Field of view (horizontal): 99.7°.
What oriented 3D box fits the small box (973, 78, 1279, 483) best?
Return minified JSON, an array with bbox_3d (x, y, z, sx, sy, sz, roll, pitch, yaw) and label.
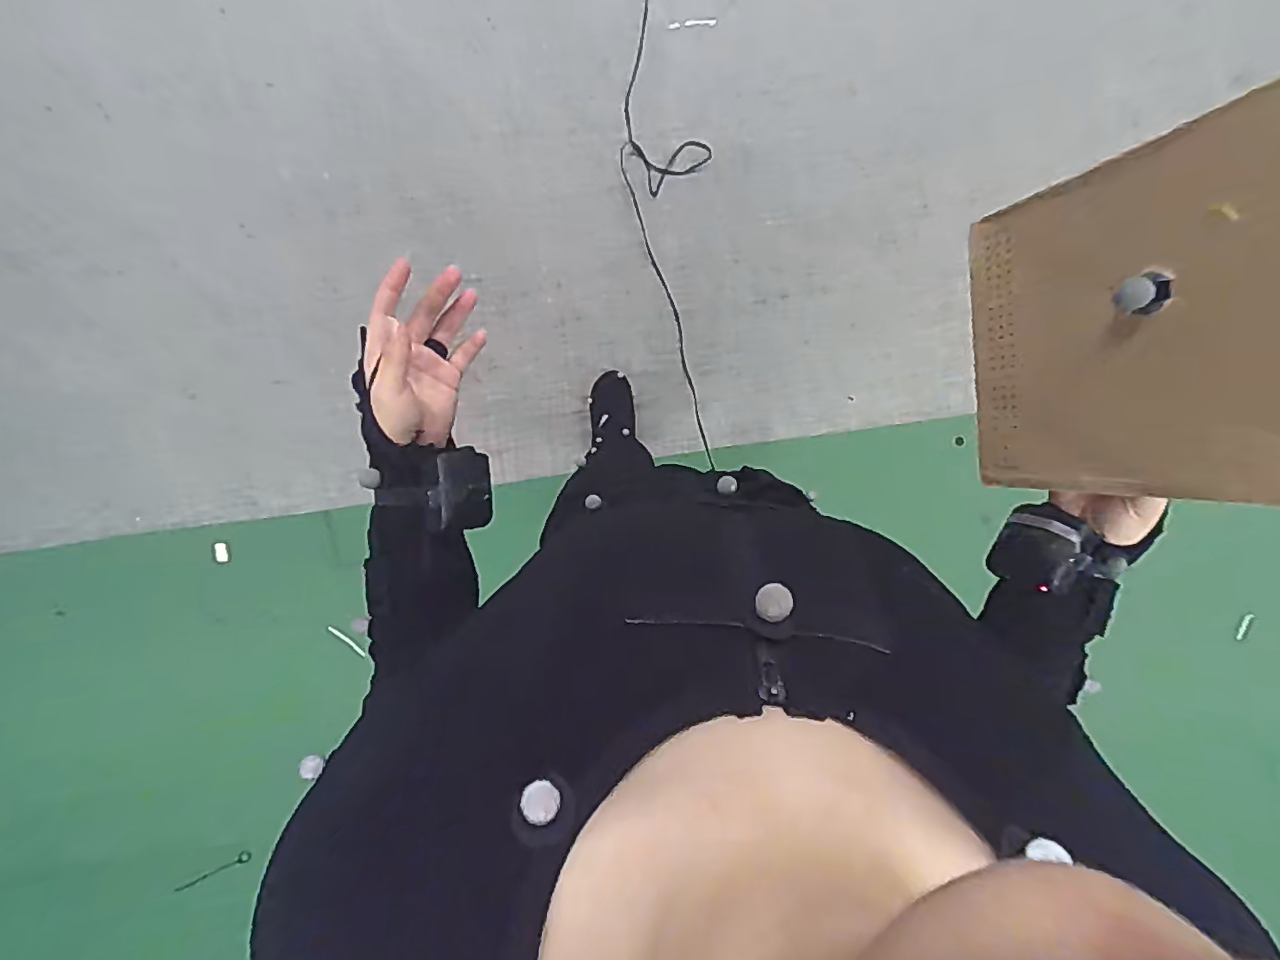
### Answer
[{"bbox_3d":[0.324,-0.093,0.309,0.168,0.176,0.179,-9,94,-15],"label":"small box"}]
